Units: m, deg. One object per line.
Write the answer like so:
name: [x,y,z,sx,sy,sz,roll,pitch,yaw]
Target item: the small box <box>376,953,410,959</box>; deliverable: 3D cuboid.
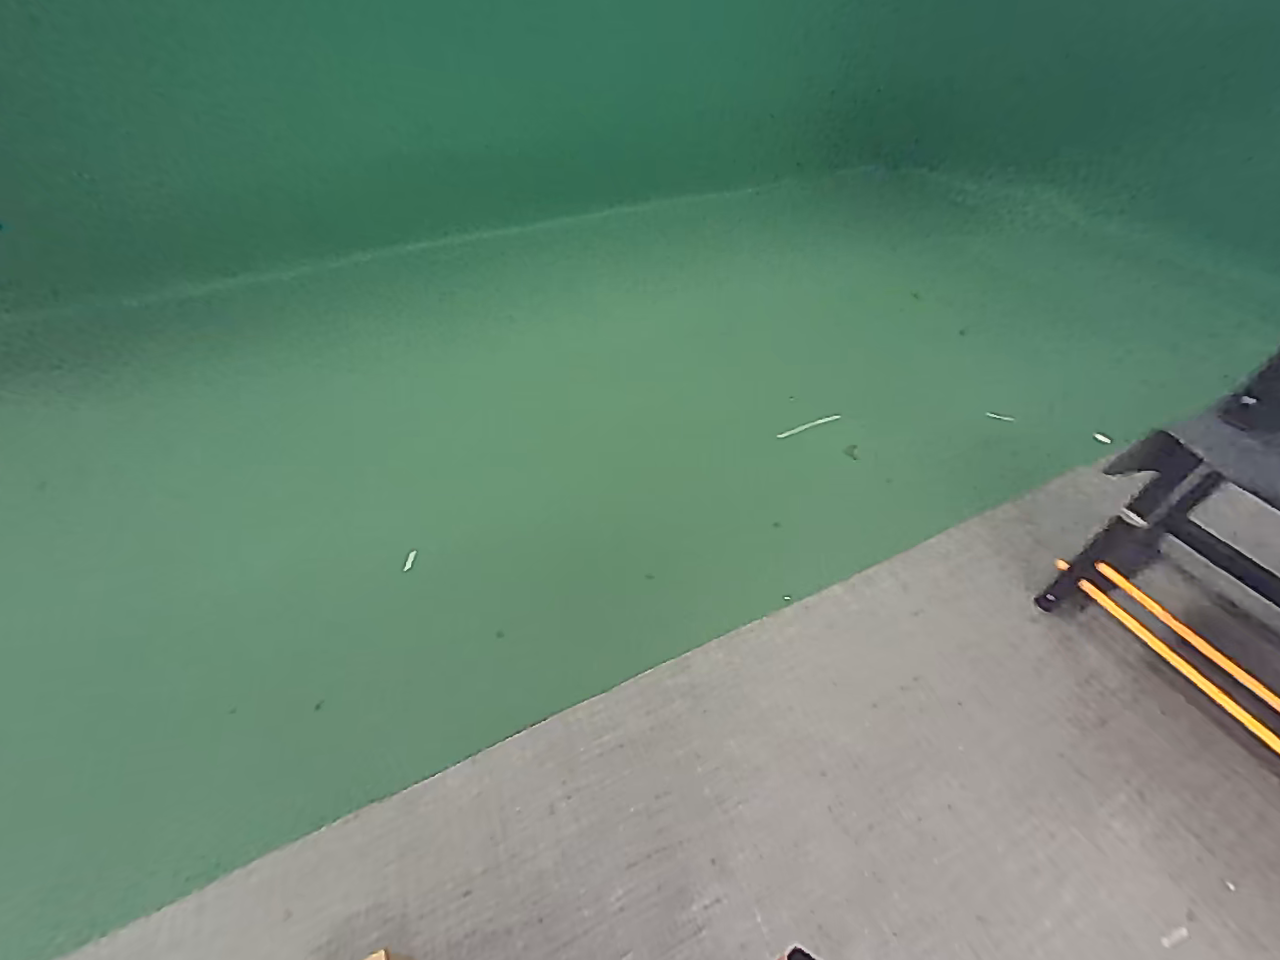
small box: [-0.504,1.007,0.977,0.179,0.176,0.168,-19,48,-18]
